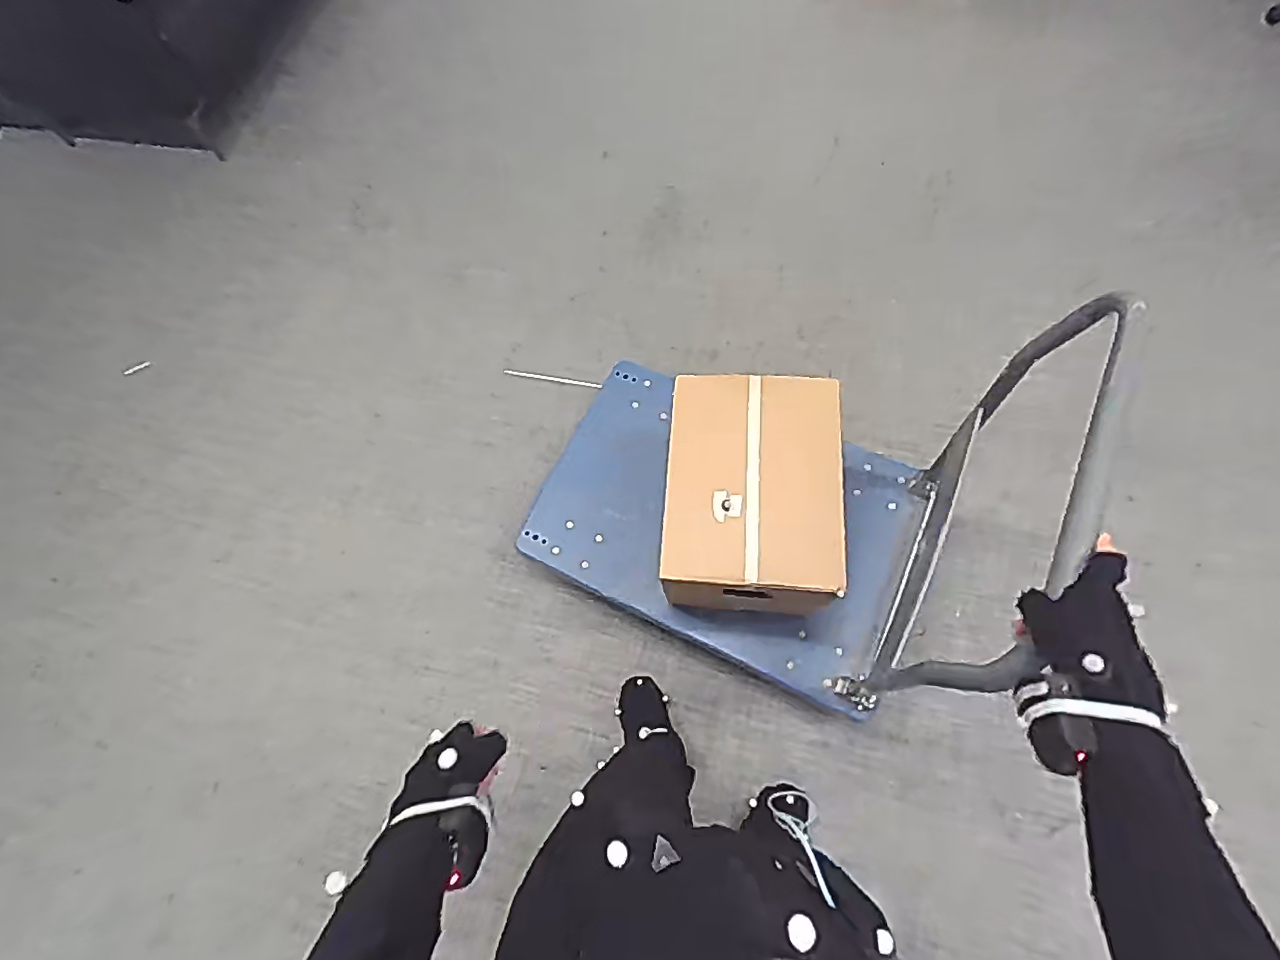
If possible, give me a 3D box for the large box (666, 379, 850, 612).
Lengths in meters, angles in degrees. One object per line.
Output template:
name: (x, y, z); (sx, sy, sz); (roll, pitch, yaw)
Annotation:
large box: (0.225, 0.043, 1.117); (0.320, 0.320, 0.408); (3, 71, 8)
